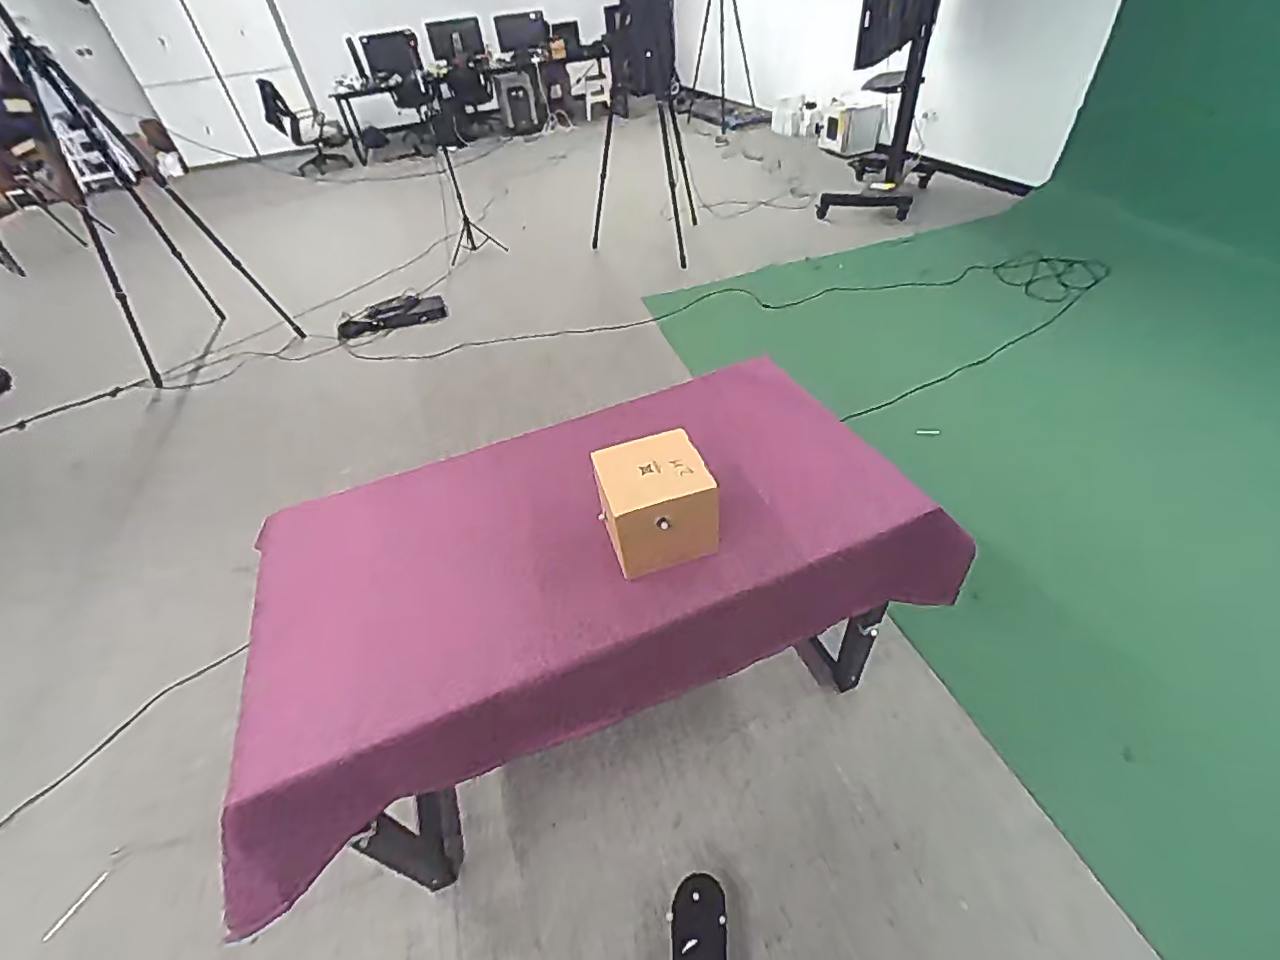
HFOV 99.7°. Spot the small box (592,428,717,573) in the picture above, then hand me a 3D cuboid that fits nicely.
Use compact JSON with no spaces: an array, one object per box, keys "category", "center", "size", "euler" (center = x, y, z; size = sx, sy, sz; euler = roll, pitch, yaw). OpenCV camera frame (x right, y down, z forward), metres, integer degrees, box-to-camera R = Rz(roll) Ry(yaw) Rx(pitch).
[{"category":"small box","center":[0.028,0.039,0.956],"size":[0.179,0.176,0.168],"euler":[-16,44,-7]}]
